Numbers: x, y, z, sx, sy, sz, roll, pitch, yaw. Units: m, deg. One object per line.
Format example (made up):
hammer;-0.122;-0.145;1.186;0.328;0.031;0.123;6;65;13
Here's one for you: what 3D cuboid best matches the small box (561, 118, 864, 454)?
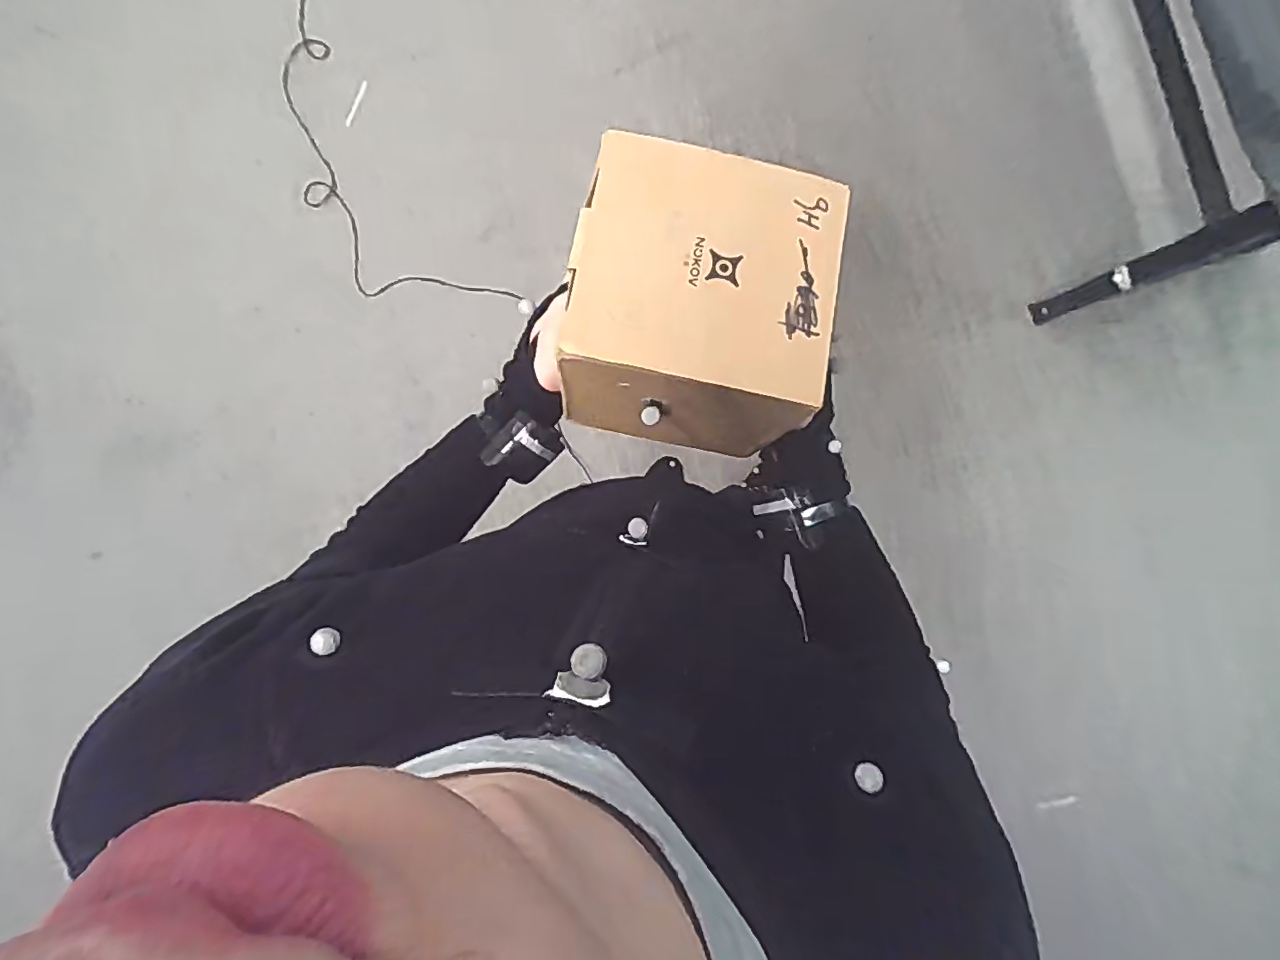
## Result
small box;0.044;-0.126;0.416;0.179;0.176;0.168;10;79;-4
